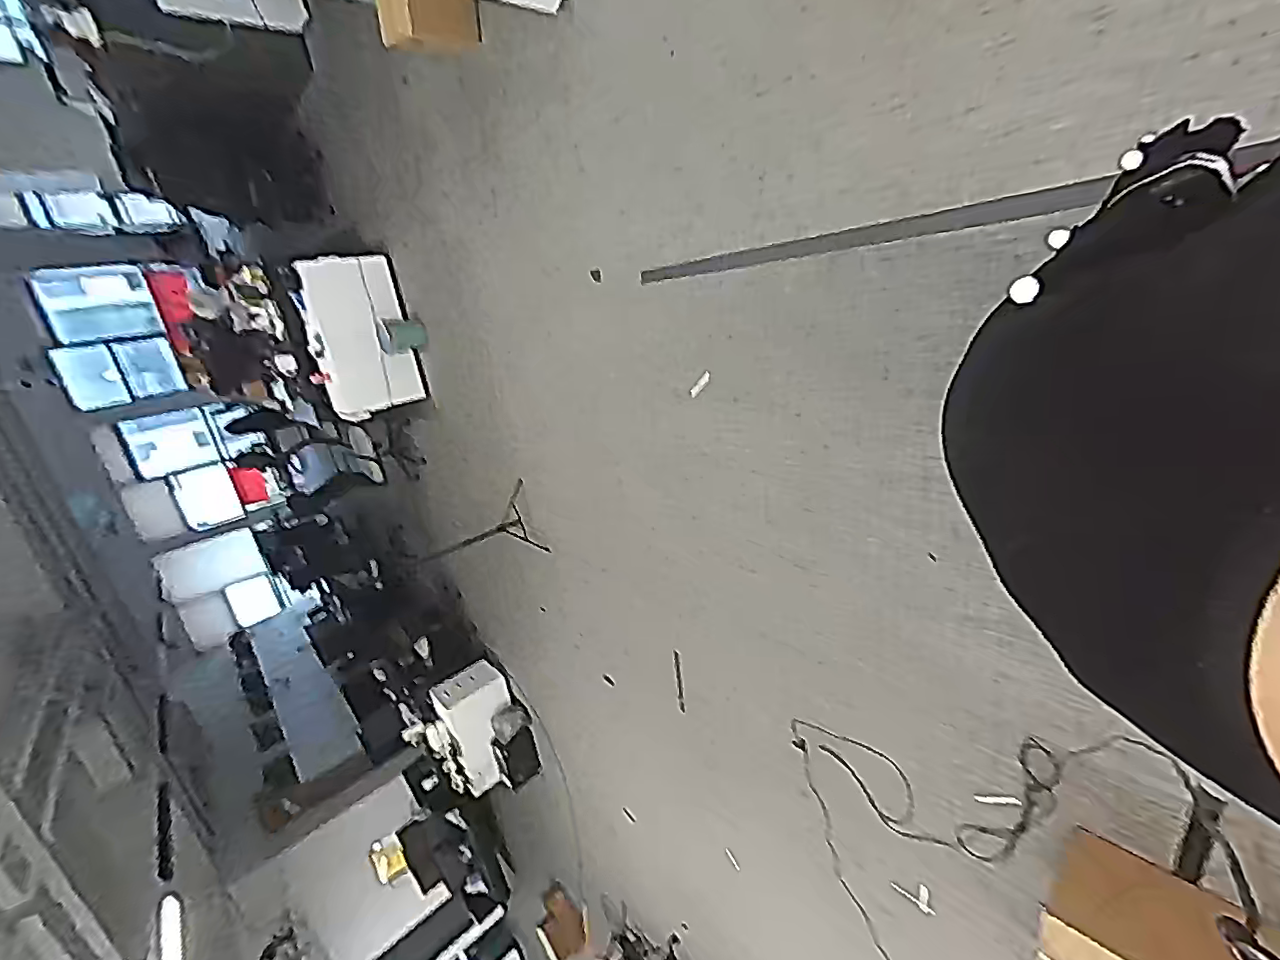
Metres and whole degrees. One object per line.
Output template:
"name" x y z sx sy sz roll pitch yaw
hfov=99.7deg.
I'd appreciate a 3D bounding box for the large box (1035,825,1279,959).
"large box" 1.283 1.190 1.353 0.408 0.320 0.320 14 120 47
